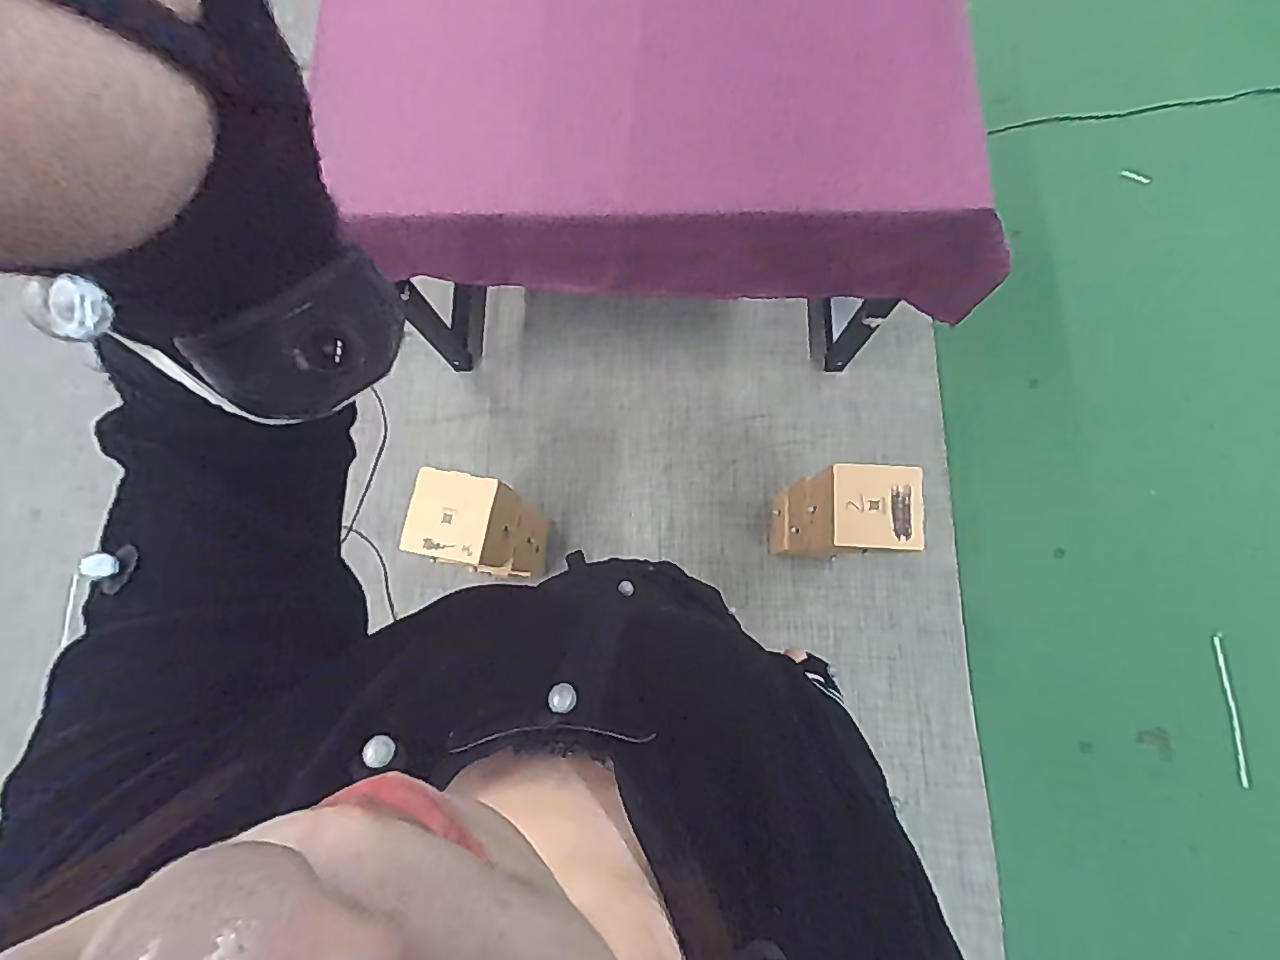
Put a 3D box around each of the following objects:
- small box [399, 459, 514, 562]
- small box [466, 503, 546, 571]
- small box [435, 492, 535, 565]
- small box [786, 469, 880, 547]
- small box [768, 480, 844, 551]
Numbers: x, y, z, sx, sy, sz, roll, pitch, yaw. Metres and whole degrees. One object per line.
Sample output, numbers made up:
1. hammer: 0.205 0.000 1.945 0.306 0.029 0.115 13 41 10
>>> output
1. small box: -0.378 0.071 1.151 0.168 0.176 0.179 11 79 4
2. small box: -0.356 0.153 1.471 0.168 0.176 0.179 4 79 2
3. small box: -0.367 0.114 1.311 0.179 0.176 0.168 7 80 2
4. small box: 0.454 0.073 1.301 0.179 0.176 0.168 2 81 1
5. small box: 0.449 0.101 1.462 0.179 0.176 0.168 5 80 1
